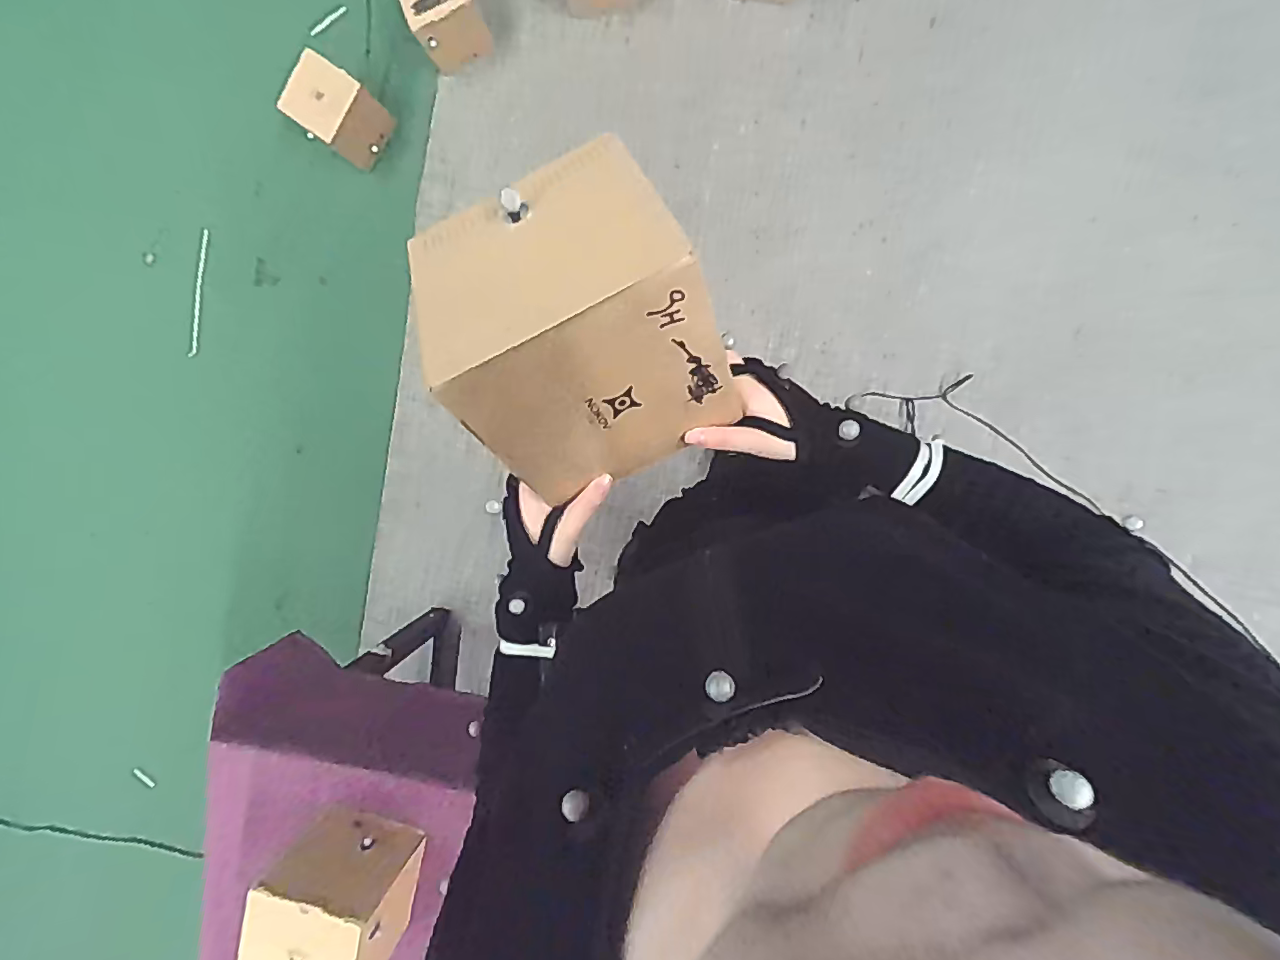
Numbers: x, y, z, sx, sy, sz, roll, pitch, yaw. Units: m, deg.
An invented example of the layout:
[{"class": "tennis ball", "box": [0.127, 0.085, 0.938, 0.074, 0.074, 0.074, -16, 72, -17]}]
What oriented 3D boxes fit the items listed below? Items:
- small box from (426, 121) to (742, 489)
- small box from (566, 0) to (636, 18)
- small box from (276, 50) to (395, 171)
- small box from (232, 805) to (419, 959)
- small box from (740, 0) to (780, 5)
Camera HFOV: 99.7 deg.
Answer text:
[{"class": "small box", "box": [-0.043, -0.128, 0.416, 0.179, 0.168, 0.176, -24, 56, 5]}, {"class": "small box", "box": [-0.106, -1.280, 1.321, 0.179, 0.176, 0.168, 0, 95, 6]}, {"class": "small box", "box": [-0.796, -0.962, 1.429, 0.179, 0.176, 0.168, 36, 98, 3]}, {"class": "small box", "box": [-0.449, 0.627, 0.789, 0.168, 0.176, 0.179, 14, 96, 5]}, {"class": "small box", "box": [0.290, -1.277, 1.277, 0.179, 0.176, 0.168, 12, 95, 5]}]
